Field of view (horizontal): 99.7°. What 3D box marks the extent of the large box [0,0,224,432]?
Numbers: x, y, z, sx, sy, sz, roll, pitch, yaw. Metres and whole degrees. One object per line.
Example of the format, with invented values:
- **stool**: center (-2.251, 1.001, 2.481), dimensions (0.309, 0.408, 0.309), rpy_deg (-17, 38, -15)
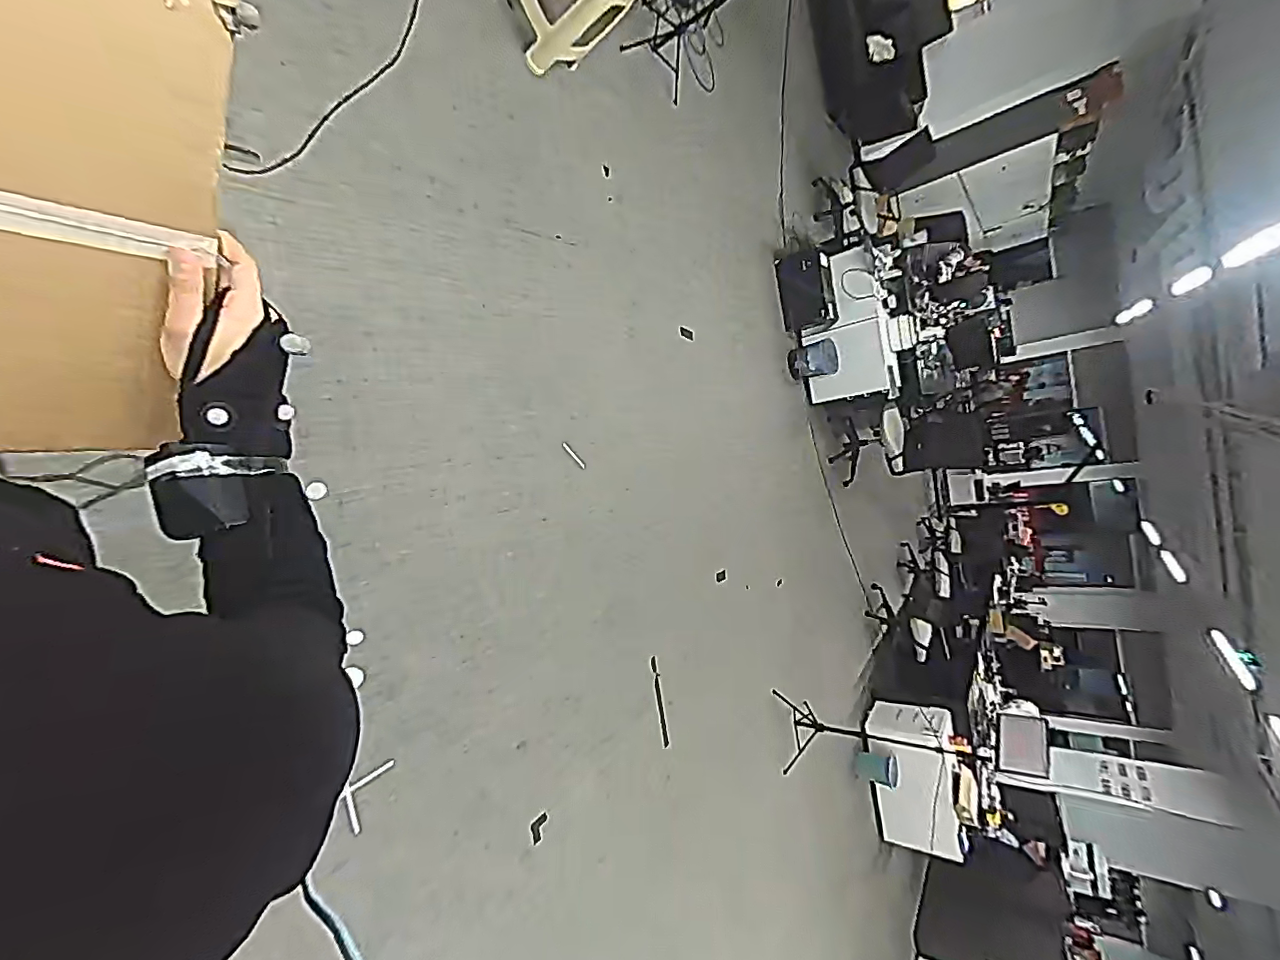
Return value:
- **large box**: center (-0.534, -0.230, 0.296), dimensions (0.408, 0.320, 0.320), rpy_deg (-9, 130, -54)
